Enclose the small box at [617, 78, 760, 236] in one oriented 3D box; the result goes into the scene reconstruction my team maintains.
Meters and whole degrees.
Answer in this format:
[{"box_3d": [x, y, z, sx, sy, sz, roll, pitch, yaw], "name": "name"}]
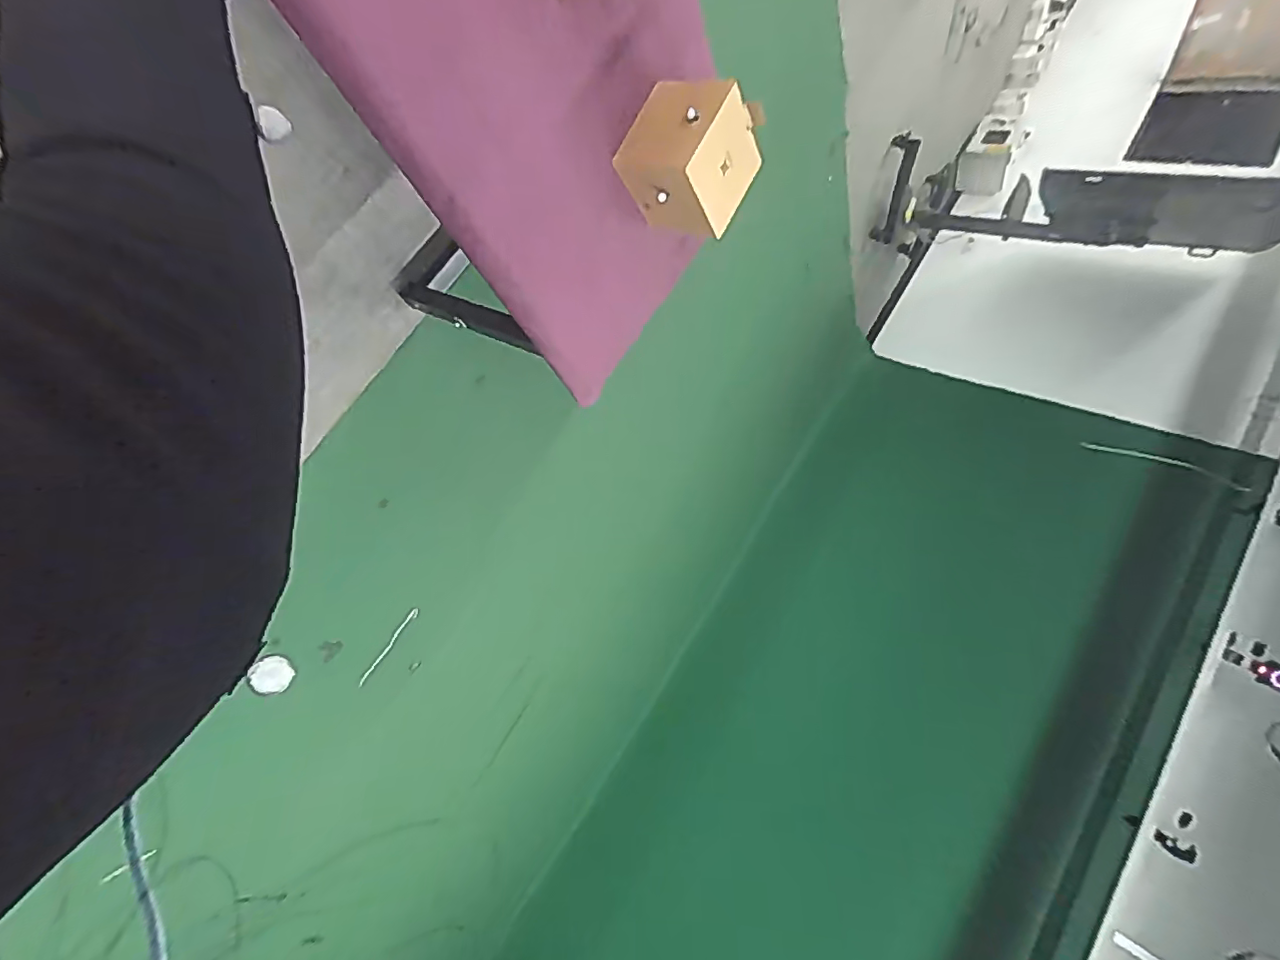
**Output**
[{"box_3d": [0.083, -0.573, 0.967, 0.179, 0.176, 0.168, -61, 147, -4], "name": "small box"}]
